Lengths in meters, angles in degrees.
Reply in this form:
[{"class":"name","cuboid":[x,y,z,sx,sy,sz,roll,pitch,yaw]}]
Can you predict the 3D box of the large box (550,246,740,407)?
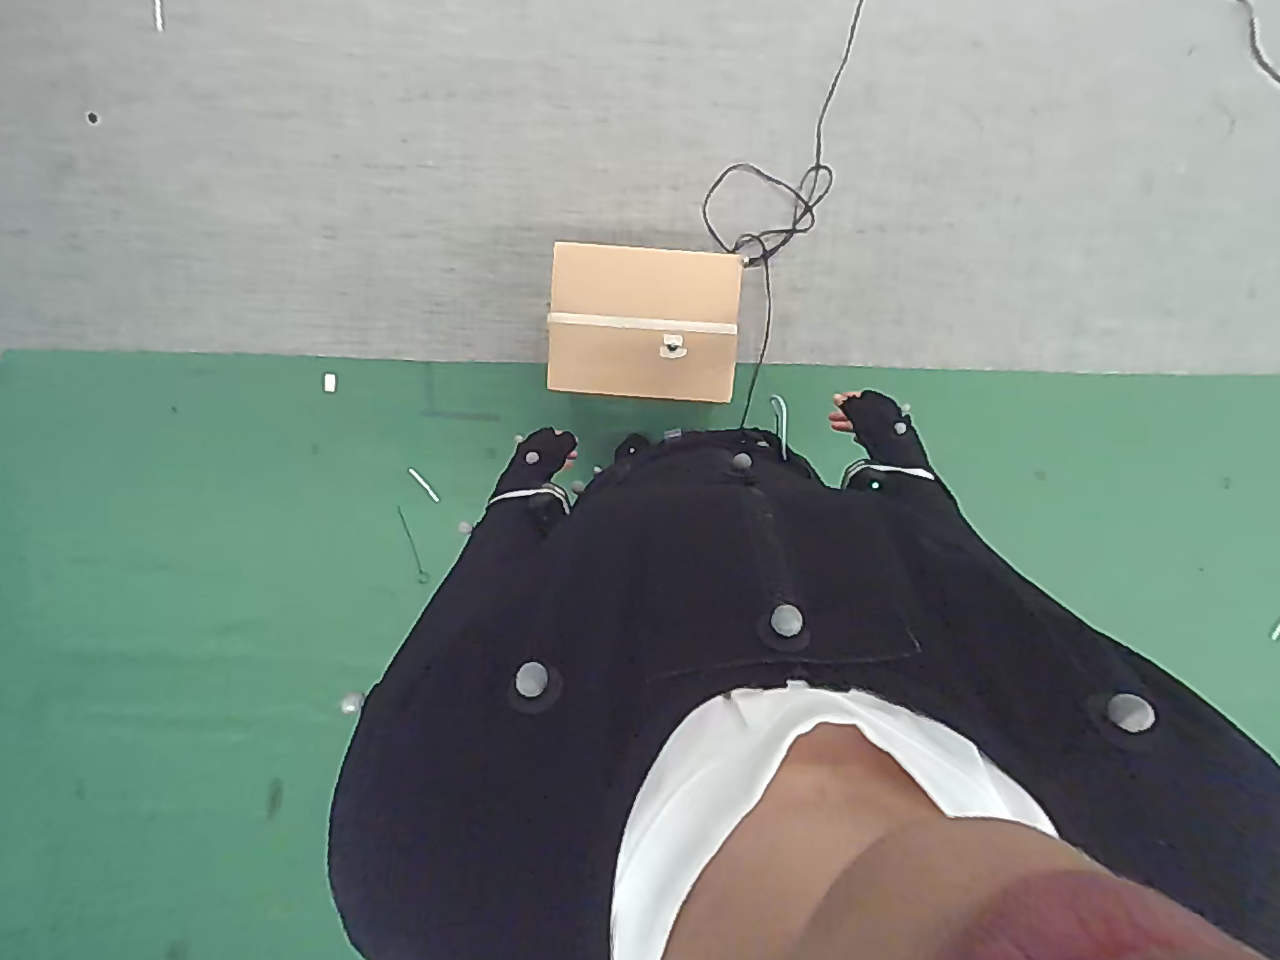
[{"class":"large box","cuboid":[0.007,-0.348,1.308,0.408,0.320,0.320,4,96,0]}]
